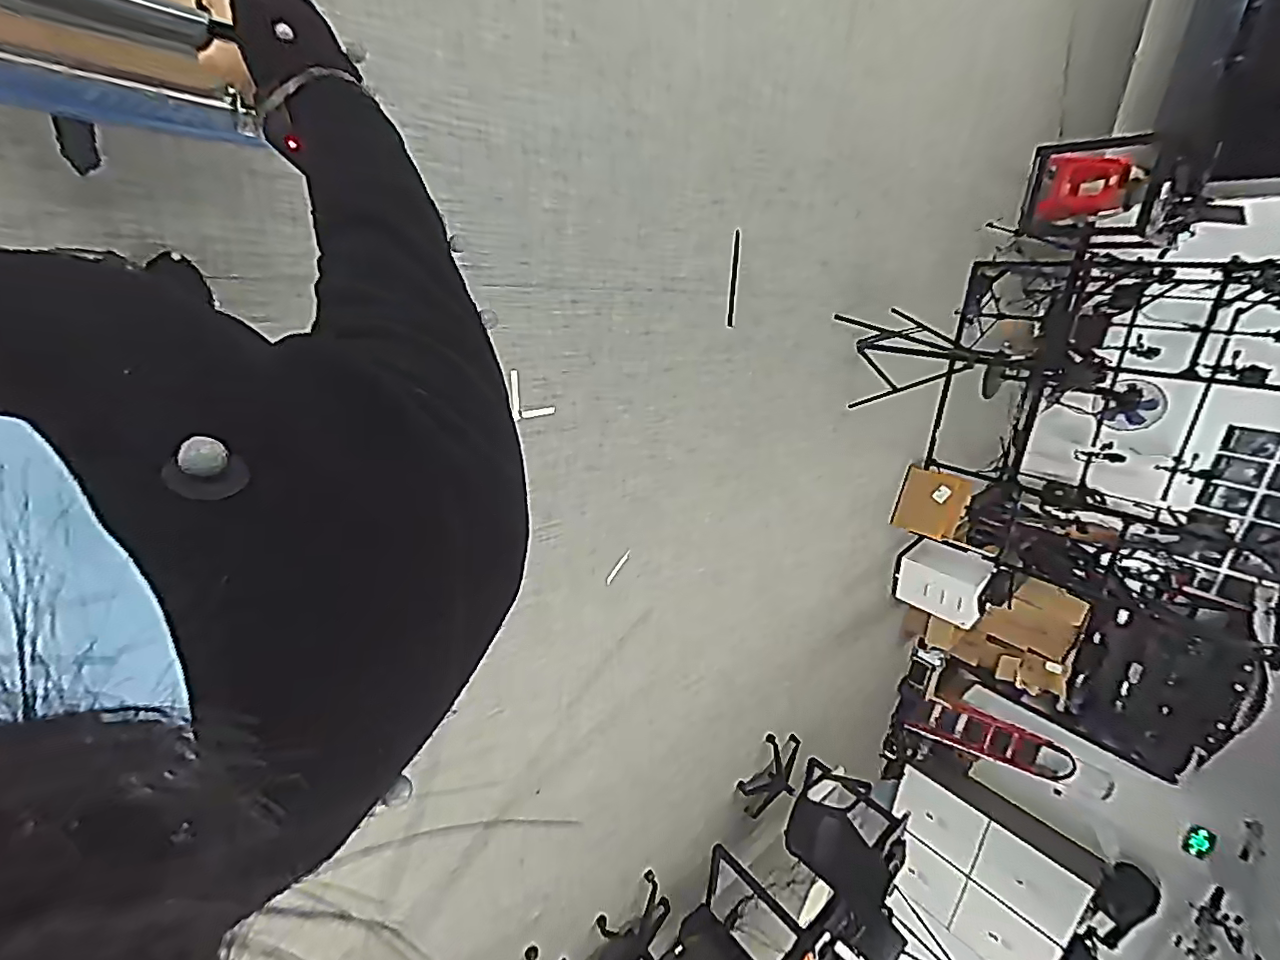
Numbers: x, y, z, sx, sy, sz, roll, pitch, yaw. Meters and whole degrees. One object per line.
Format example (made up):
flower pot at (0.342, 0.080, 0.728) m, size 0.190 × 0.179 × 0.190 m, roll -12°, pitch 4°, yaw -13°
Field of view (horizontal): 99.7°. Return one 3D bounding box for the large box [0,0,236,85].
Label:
large box at (-0.790, -0.747, 0.661) m, size 0.408 × 0.320 × 0.320 m, roll -14°, pitch 117°, yaw -41°
